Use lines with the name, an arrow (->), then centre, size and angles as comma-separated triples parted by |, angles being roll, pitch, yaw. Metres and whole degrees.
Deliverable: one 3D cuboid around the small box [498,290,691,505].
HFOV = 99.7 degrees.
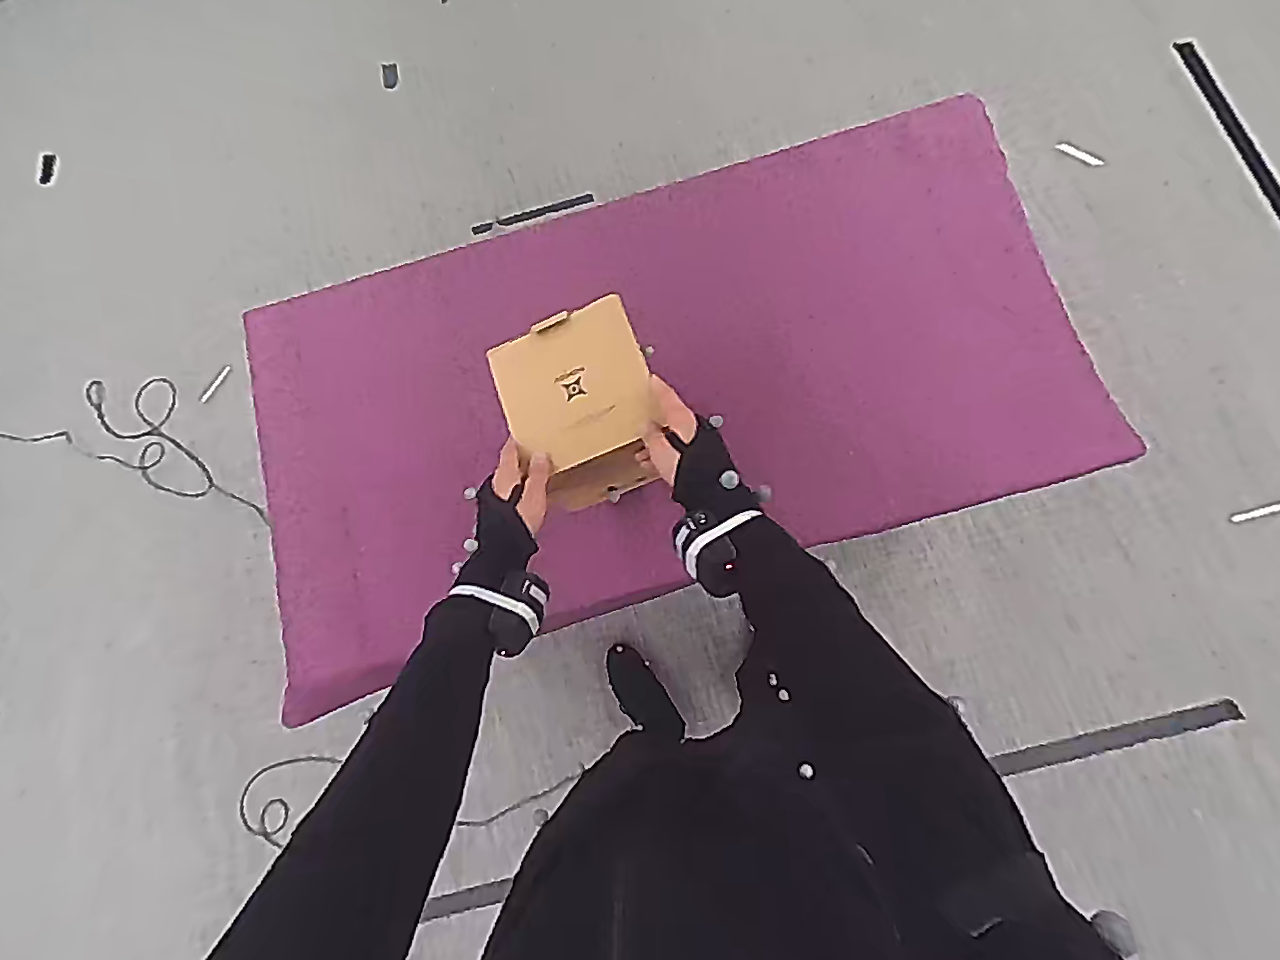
small box -> -0.046, -0.087, 0.657 | 0.168, 0.176, 0.179 | -21, 74, 6
